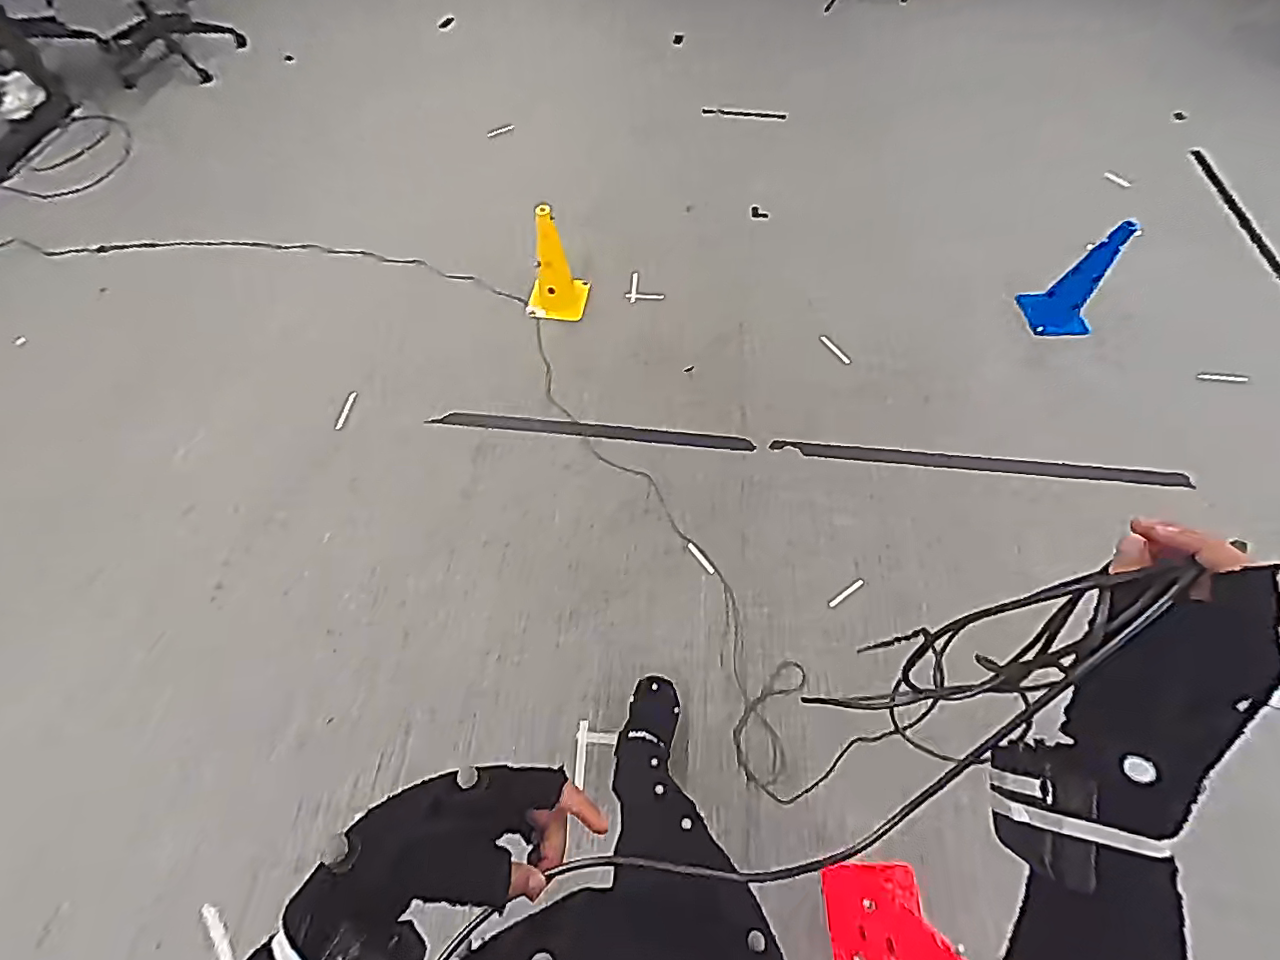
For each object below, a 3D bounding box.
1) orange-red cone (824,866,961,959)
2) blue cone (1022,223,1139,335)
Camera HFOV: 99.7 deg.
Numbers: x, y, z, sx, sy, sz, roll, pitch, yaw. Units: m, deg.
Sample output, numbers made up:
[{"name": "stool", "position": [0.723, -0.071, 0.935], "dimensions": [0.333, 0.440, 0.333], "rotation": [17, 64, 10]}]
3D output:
[{"name": "orange-red cone", "position": [0.481, 0.822, 0.943], "dimensions": [0.199, 0.360, 0.198], "rotation": [1, 62, -1]}, {"name": "blue cone", "position": [1.458, -0.665, 1.761], "dimensions": [0.193, 0.380, 0.192], "rotation": [0, 61, 0]}]
